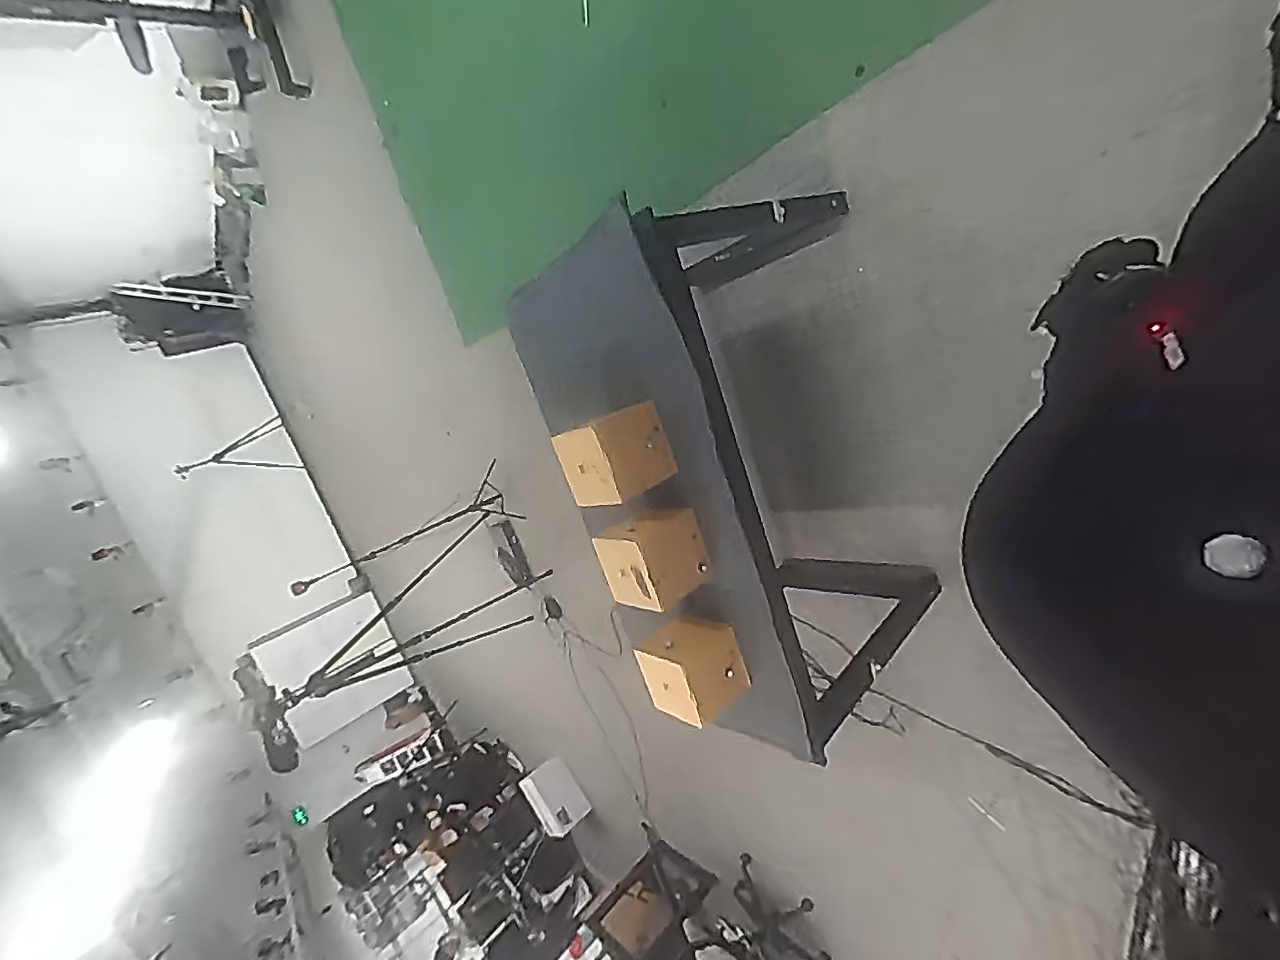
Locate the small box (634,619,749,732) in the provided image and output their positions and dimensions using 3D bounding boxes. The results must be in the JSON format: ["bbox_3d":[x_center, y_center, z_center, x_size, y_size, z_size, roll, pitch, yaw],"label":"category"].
[{"bbox_3d":[0.122,0.443,1.260,0.179,0.176,0.168,-7,106,52],"label":"small box"}]

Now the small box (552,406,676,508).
[{"bbox_3d":[-0.055,-0.047,1.161,0.179,0.176,0.168,-7,107,52],"label":"small box"}]

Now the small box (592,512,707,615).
[{"bbox_3d":[0.028,0.177,1.204,0.179,0.176,0.168,-5,108,52],"label":"small box"}]
